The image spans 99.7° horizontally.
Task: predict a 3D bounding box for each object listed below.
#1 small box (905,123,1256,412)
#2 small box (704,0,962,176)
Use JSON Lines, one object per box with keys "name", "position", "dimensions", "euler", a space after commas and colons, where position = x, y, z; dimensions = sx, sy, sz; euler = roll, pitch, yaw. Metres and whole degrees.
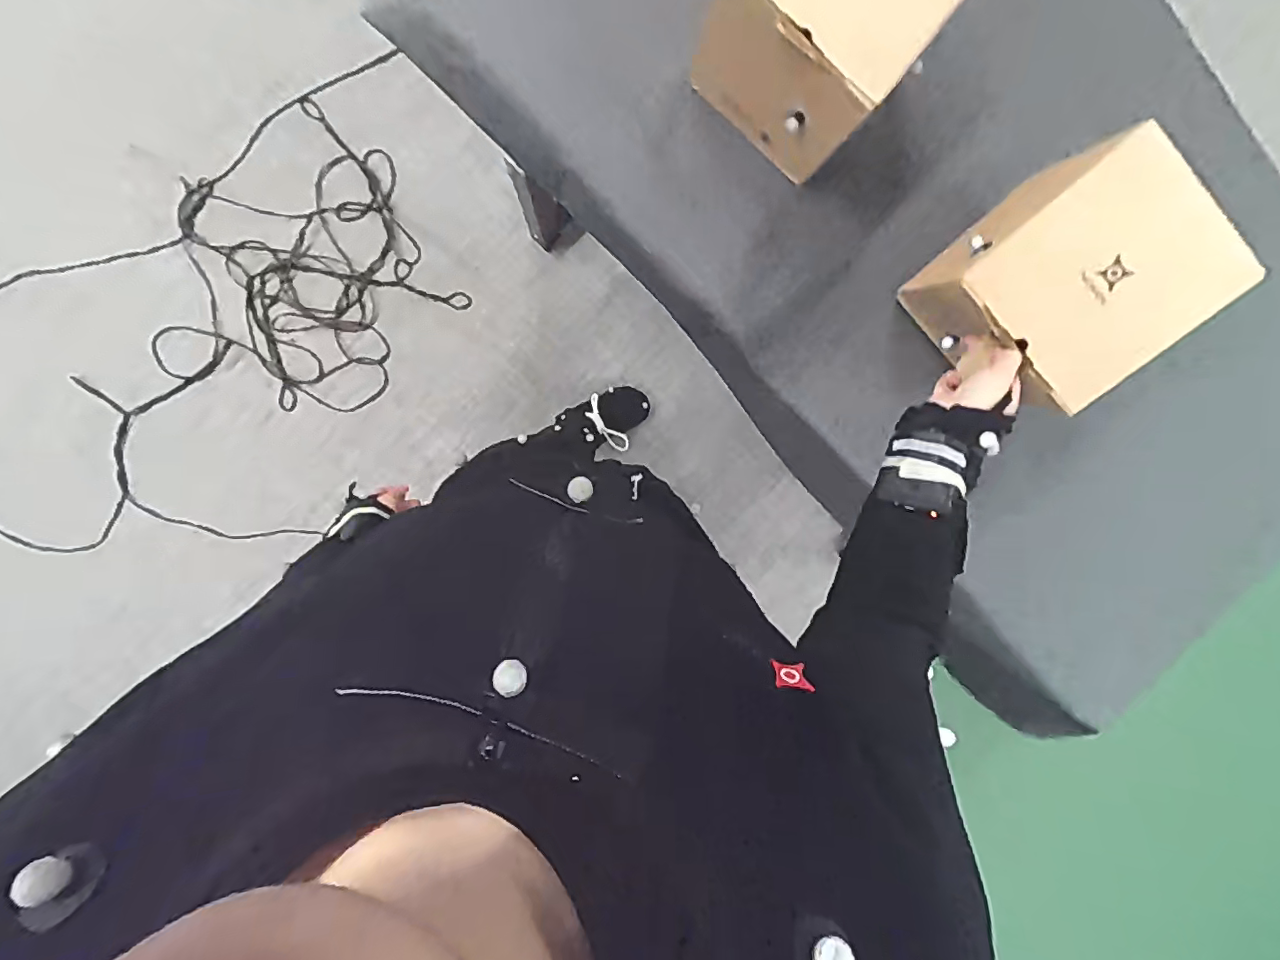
{"name": "small box", "position": [0.407, -0.195, 0.539], "dimensions": [0.179, 0.176, 0.168], "euler": [-42, 97, 15]}
{"name": "small box", "position": [0.179, -0.437, 0.515], "dimensions": [0.168, 0.176, 0.179], "euler": [38, 91, -10]}
